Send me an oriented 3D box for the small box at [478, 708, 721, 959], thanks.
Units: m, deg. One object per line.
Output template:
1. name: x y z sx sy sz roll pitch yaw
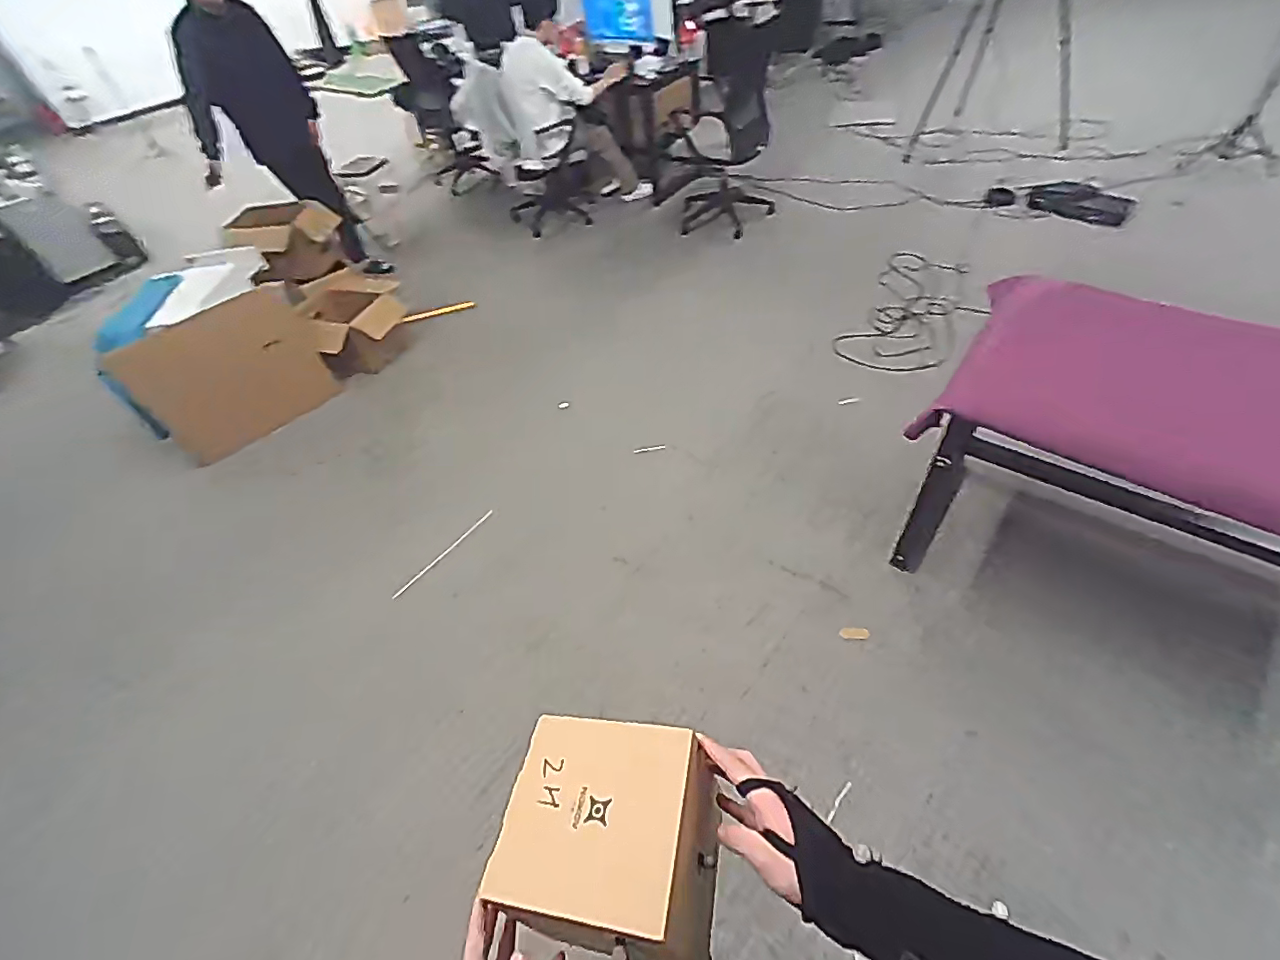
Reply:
1. small box: -0.022 0.359 0.549 0.179 0.176 0.168 -3 40 21
